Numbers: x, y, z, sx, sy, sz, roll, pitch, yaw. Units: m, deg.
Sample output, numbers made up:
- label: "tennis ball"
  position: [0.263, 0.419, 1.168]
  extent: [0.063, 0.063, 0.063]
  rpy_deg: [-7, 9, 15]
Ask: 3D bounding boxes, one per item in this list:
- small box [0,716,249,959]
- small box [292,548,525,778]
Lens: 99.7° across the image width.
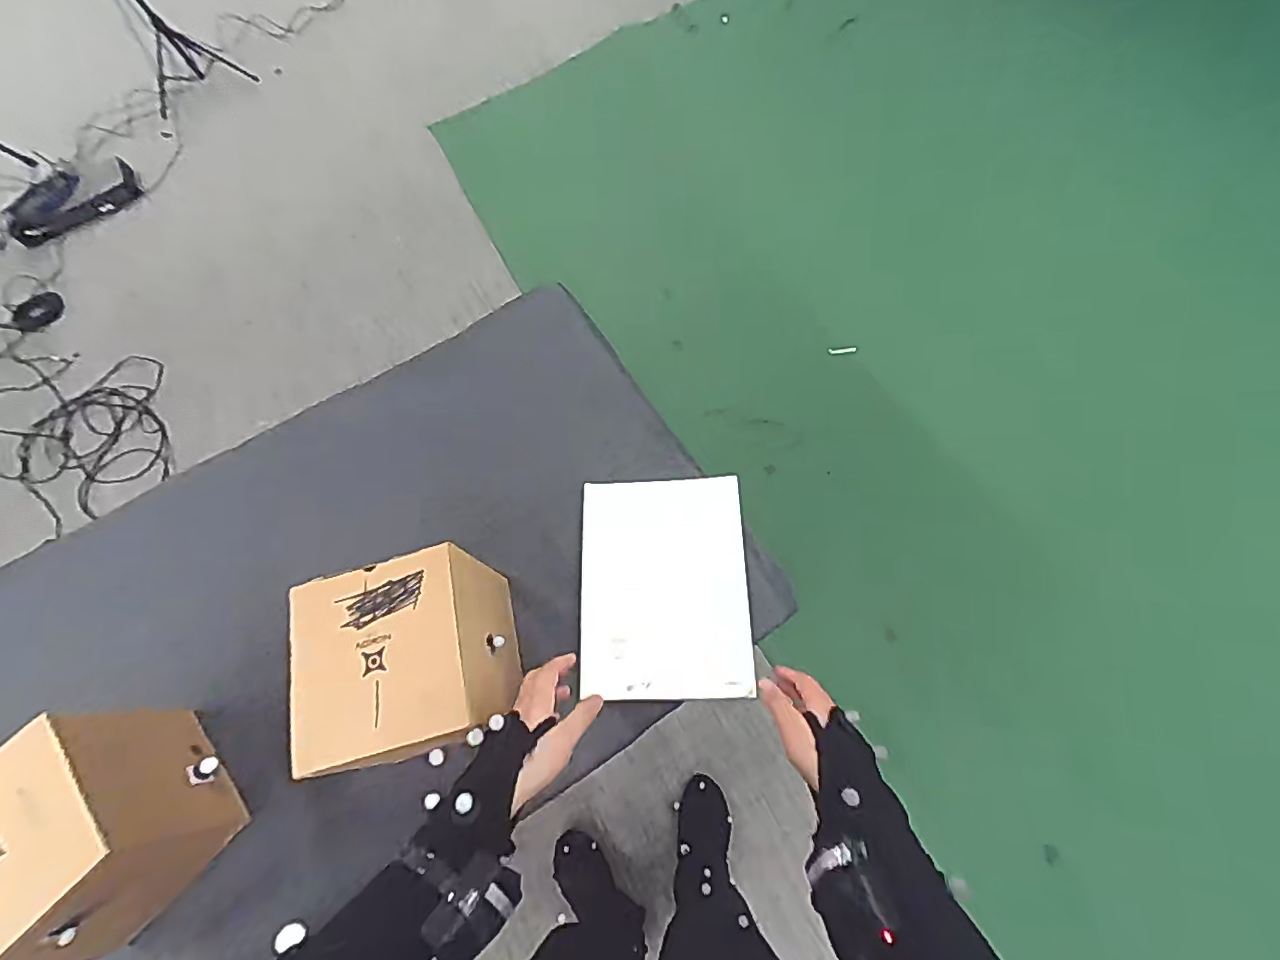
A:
- label: "small box"
  position: [-0.565, 0.369, 0.554]
  extent: [0.168, 0.176, 0.179]
  rpy_deg: [40, 77, 20]
- label: "small box"
  position: [-0.237, 0.196, 0.580]
  extent: [0.168, 0.176, 0.179]
  rpy_deg: [-17, 67, 1]
